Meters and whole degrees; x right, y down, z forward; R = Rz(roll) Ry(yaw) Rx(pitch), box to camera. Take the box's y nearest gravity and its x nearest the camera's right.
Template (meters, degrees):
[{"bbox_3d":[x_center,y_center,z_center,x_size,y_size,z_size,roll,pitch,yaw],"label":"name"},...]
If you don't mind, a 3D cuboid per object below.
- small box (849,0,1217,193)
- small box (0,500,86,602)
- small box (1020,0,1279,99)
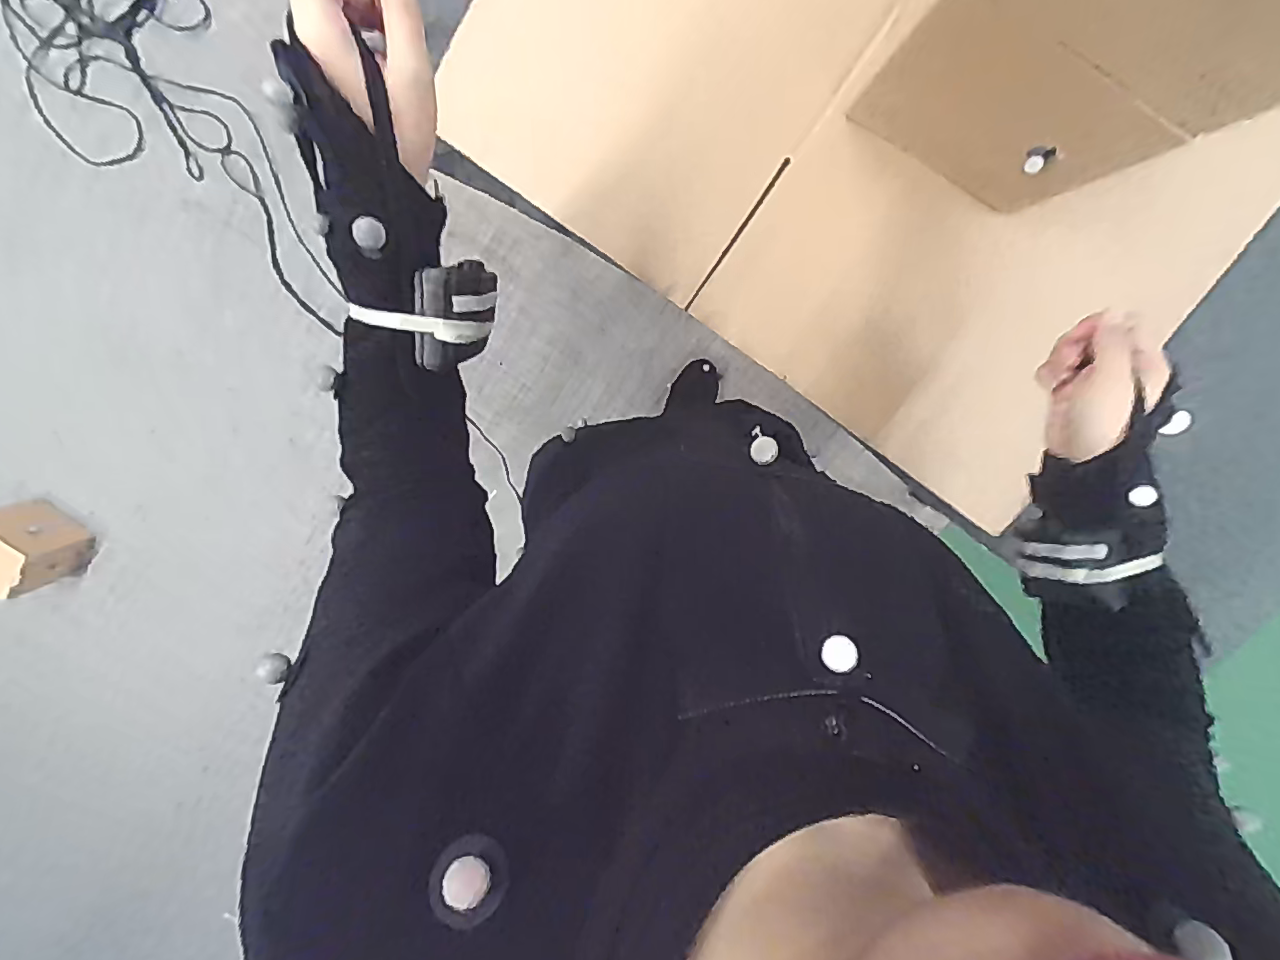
[{"bbox_3d":[0.283,-0.328,0.371,0.179,0.176,0.168,26,100,-6],"label":"small box"},{"bbox_3d":[-1.625,0.175,1.408,0.179,0.176,0.168,39,102,-9],"label":"small box"},{"bbox_3d":[0.289,-0.295,0.210,0.179,0.176,0.168,25,100,-6],"label":"small box"}]
